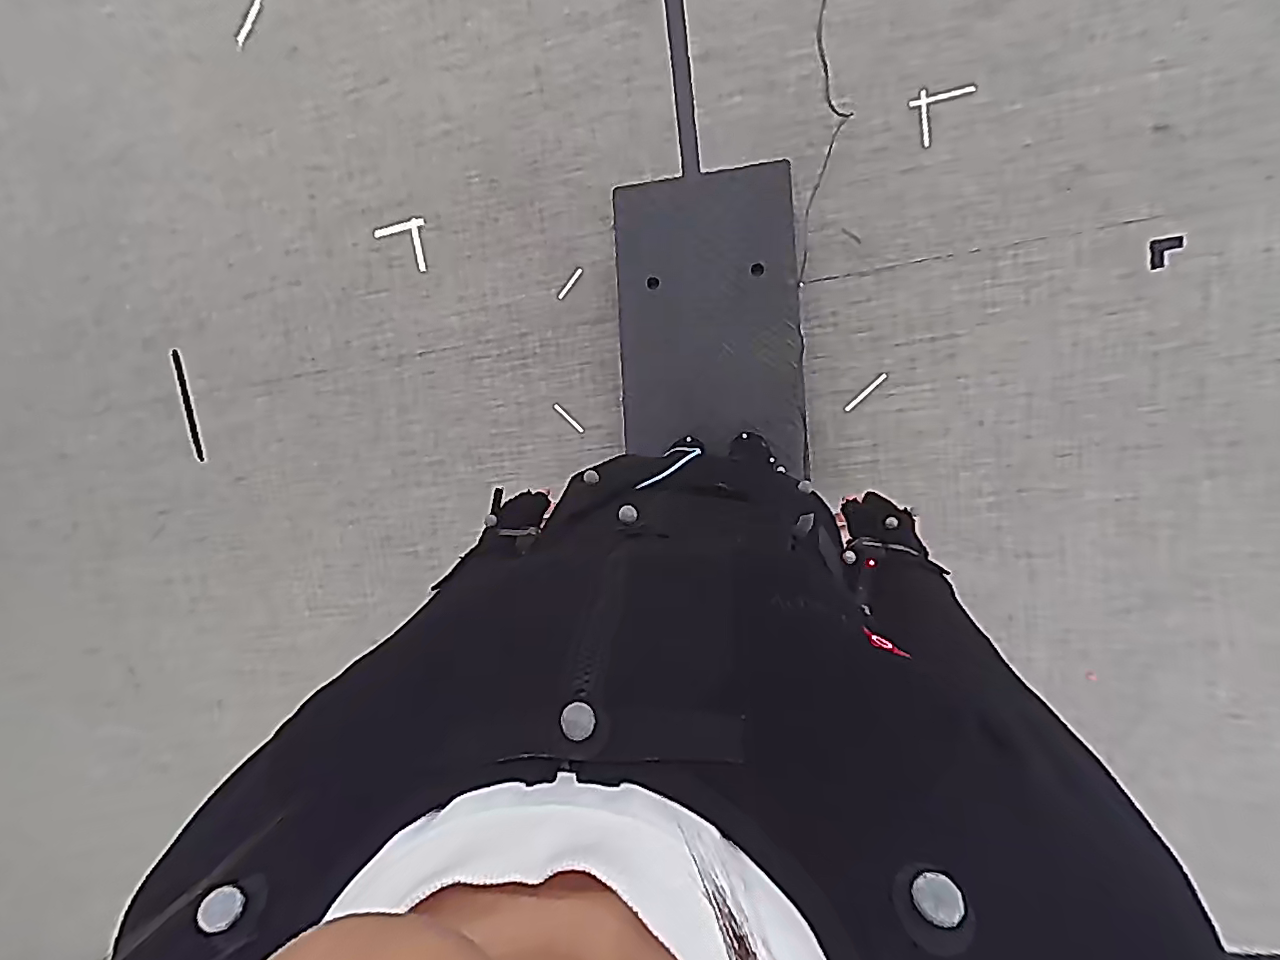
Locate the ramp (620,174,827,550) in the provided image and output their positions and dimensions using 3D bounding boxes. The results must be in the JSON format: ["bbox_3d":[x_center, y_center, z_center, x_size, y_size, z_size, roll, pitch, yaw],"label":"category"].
[{"bbox_3d":[0.209,-0.321,1.484,0.509,0.206,0.991,-7,95,13],"label":"ramp"}]
